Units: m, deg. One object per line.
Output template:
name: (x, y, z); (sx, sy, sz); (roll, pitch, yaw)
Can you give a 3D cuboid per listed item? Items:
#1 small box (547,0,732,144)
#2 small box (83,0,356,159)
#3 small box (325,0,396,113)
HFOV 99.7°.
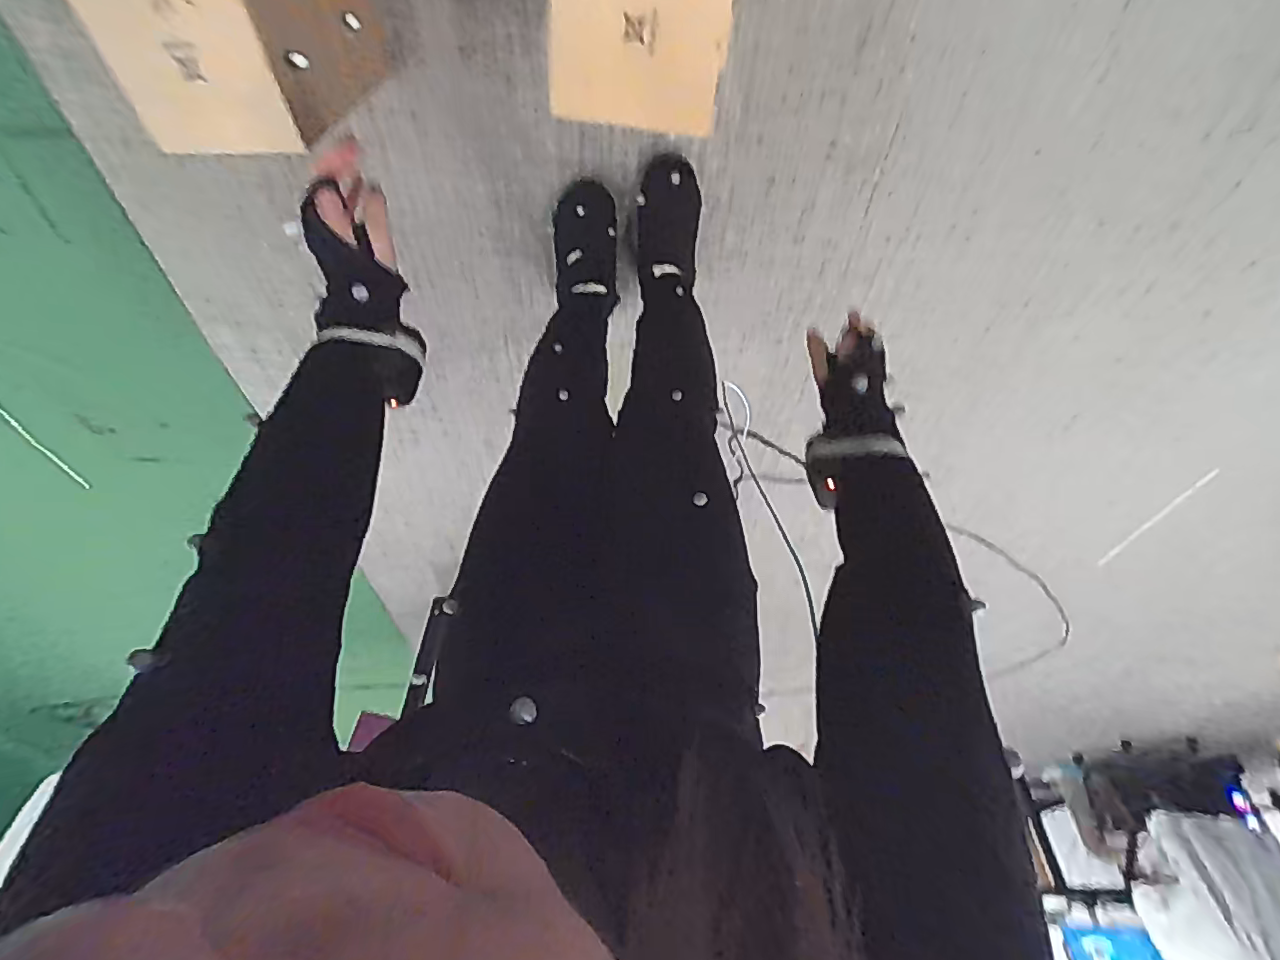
small box: (-0.001, -0.495, 0.586); (0.179, 0.176, 0.168); (6, 139, -4)
small box: (-0.454, -0.490, 0.610); (0.168, 0.176, 0.179); (1, 139, 0)
small box: (-0.448, -0.616, 0.715); (0.168, 0.176, 0.179); (2, 139, -1)
